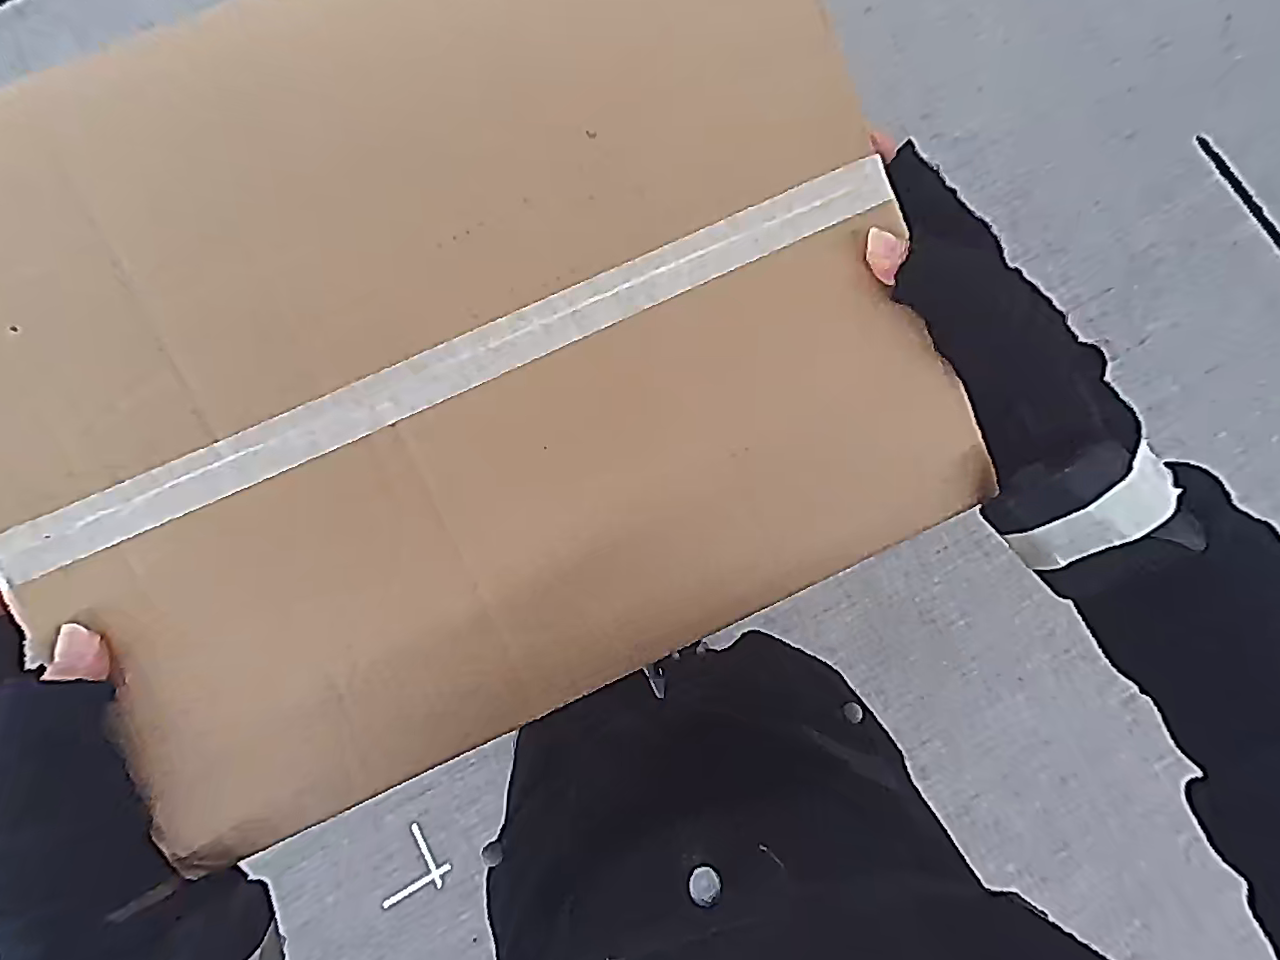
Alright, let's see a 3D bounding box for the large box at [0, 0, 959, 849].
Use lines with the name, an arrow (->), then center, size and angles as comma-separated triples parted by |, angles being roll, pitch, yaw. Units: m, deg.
large box -> -0.091, -0.064, 0.388 | 0.408, 0.320, 0.320 | -25, 97, -4
